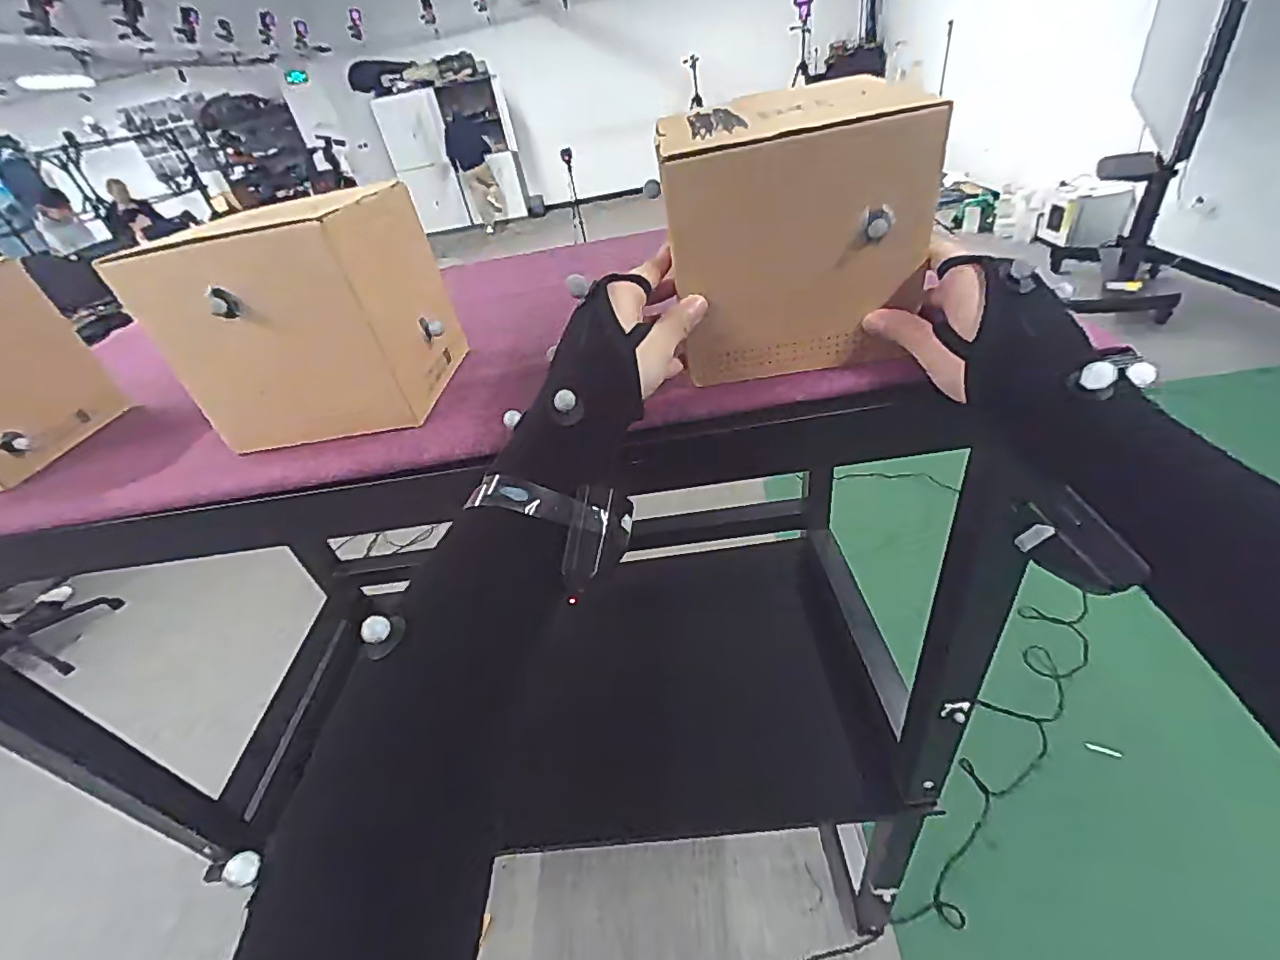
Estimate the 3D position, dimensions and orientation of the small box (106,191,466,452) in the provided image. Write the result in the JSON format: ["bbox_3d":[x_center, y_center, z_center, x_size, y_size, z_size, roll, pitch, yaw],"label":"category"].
[{"bbox_3d":[-0.287,-0.140,0.489,0.179,0.176,0.168,-8,37,7],"label":"small box"}]

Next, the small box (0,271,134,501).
[{"bbox_3d":[-0.673,-0.080,0.526,0.179,0.176,0.168,-10,36,5],"label":"small box"}]
